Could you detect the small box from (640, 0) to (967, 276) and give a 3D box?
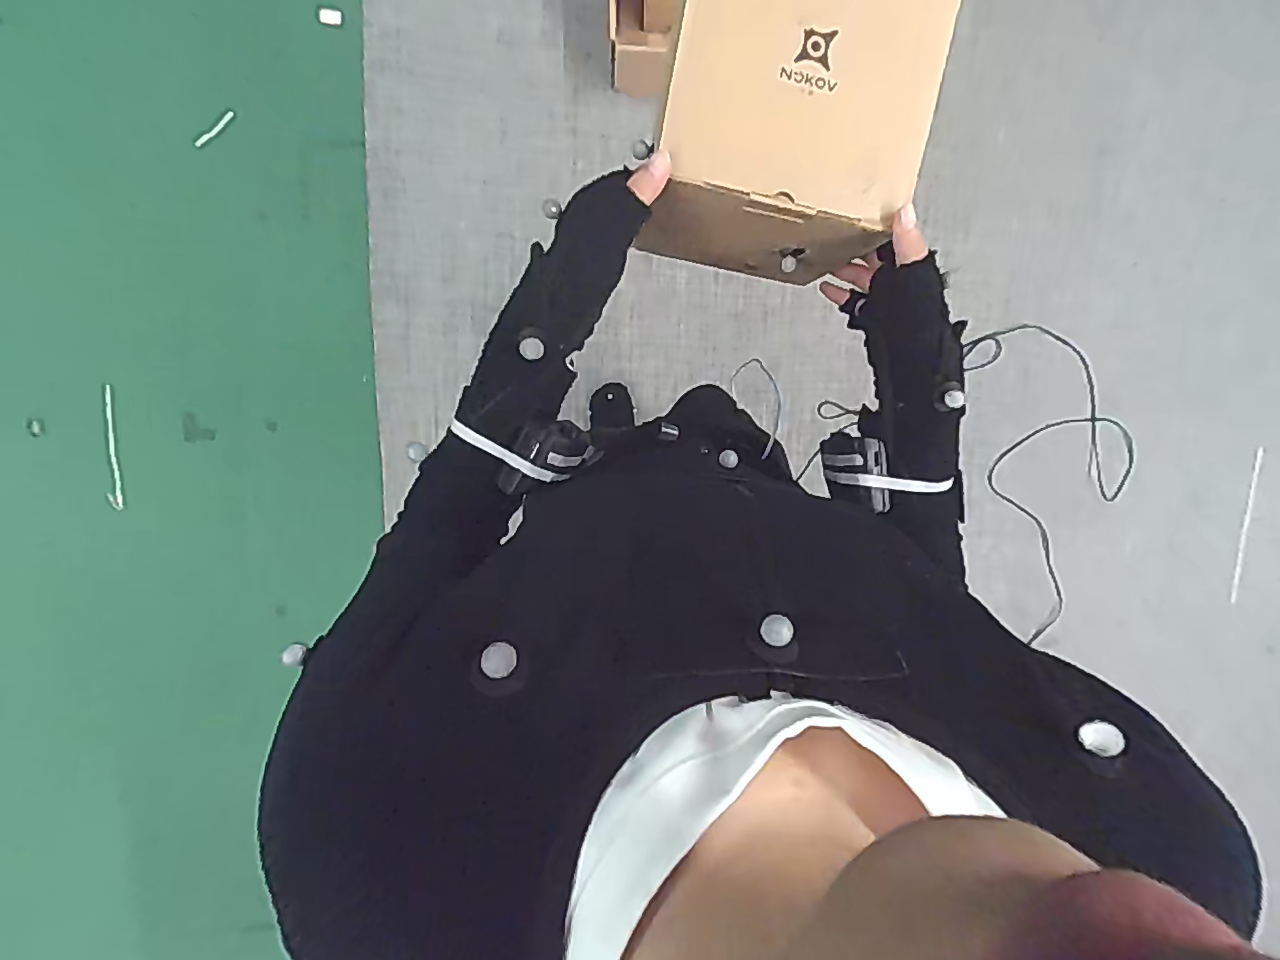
[{"bbox_3d":[0.098,-0.266,0.397,0.168,0.176,0.179,10,98,-7],"label":"small box"}]

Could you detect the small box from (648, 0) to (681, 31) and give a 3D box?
[{"bbox_3d":[0.108,-1.121,1.169,0.168,0.176,0.179,1,98,-4],"label":"small box"}]
